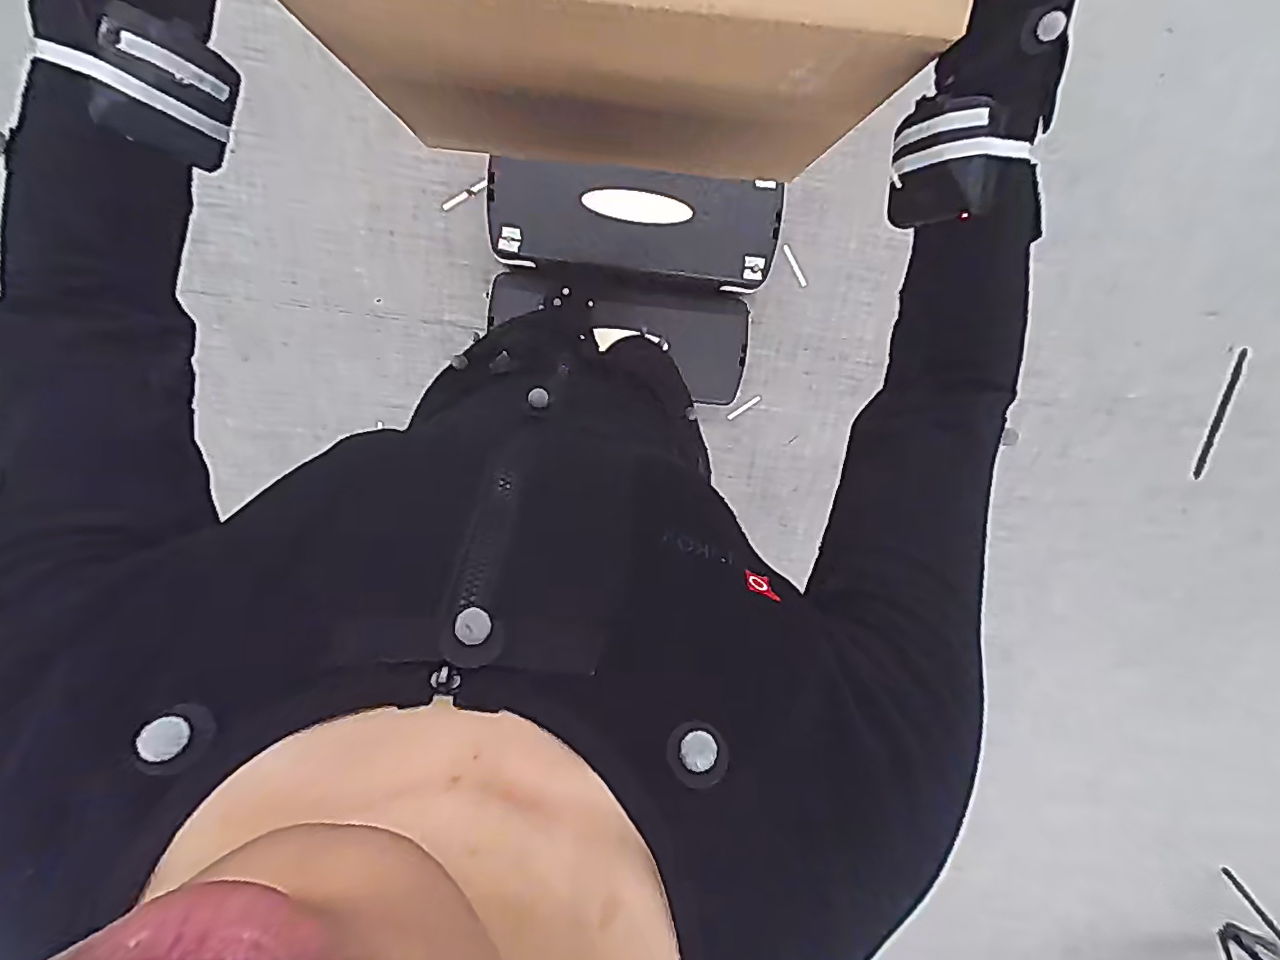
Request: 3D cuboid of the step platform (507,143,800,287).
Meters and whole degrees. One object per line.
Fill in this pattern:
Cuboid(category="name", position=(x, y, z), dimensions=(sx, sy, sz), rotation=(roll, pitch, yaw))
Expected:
Cuboid(category="step platform", position=(0.029, -0.651, 1.303), dimensions=(0.684, 0.204, 0.286), rotation=(4, 105, -6))

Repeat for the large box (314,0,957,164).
Cuboid(category="large box", position=(-0.012, -0.466, 0.409), dimensions=(0.408, 0.320, 0.320), rotation=(3, 106, -4))
